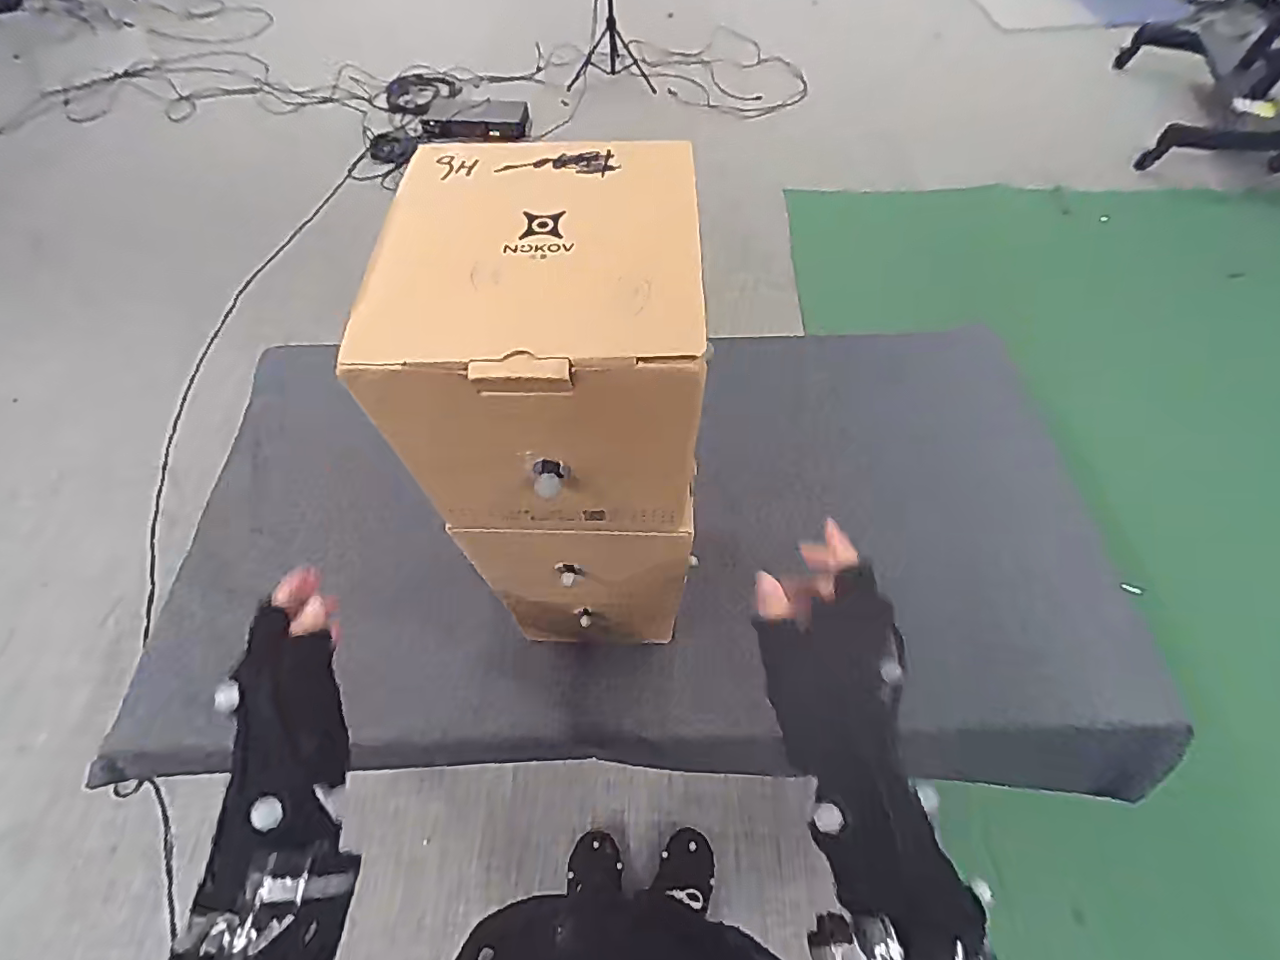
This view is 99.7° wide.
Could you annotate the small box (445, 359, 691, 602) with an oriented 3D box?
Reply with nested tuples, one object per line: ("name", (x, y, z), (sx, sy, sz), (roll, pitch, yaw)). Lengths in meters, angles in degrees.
("small box", (-0.048, 0.005, 0.487), (0.179, 0.176, 0.168), (-1, 60, 3))

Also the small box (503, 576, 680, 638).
("small box", (-0.045, 0.083, 0.632), (0.179, 0.176, 0.168), (0, 61, 0))

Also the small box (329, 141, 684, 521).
("small box", (-0.056, -0.081, 0.348), (0.168, 0.176, 0.179), (-1, 61, 2))
